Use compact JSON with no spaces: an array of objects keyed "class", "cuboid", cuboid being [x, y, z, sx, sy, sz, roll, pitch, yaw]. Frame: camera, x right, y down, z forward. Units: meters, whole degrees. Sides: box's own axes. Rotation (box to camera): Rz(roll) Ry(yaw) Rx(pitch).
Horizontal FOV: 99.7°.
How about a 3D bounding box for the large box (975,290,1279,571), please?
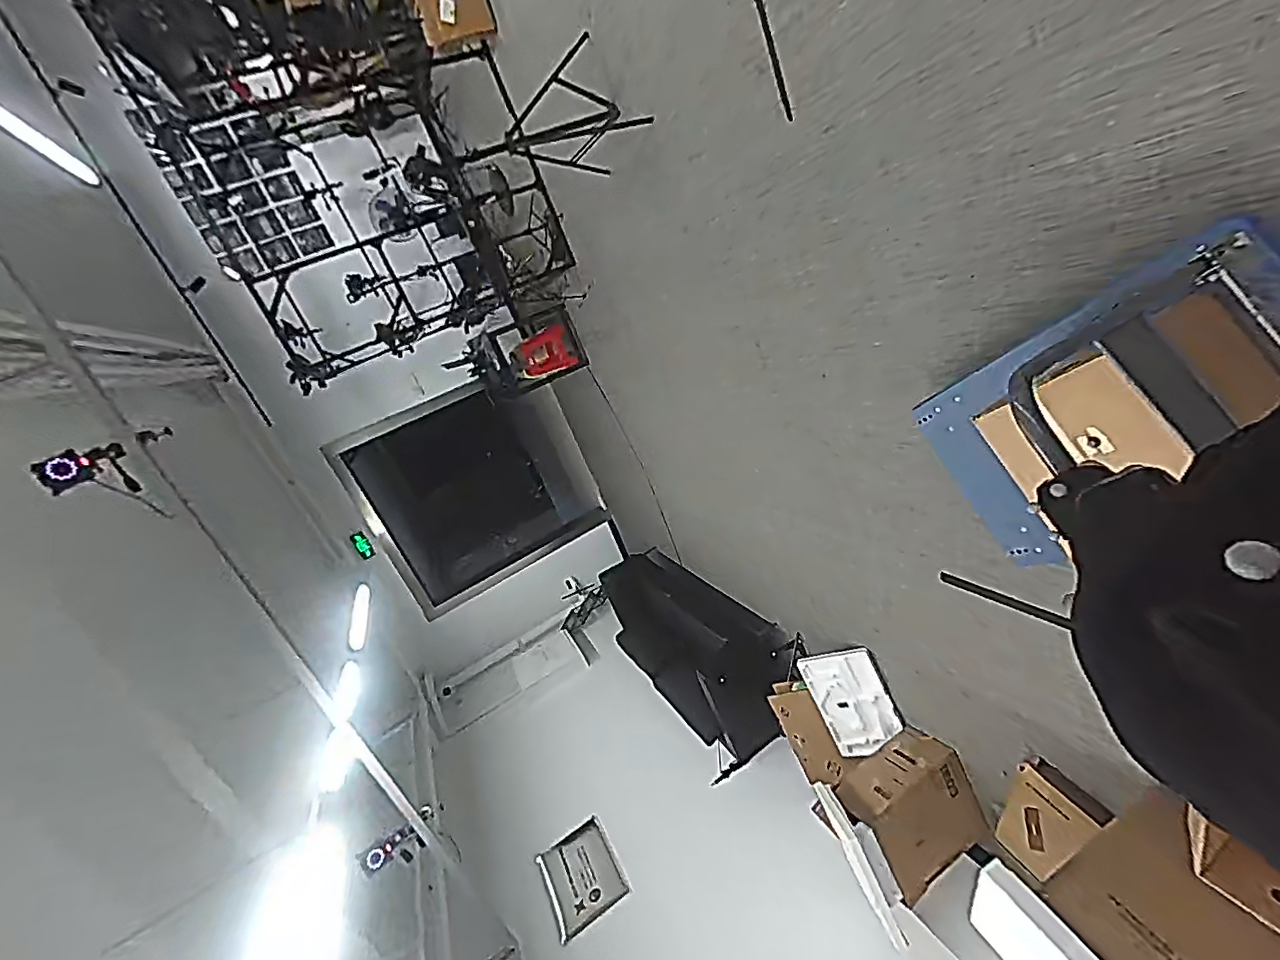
[{"class":"large box","cuboid":[0.994,-0.082,1.067,0.408,0.320,0.320,59,163,9]}]
